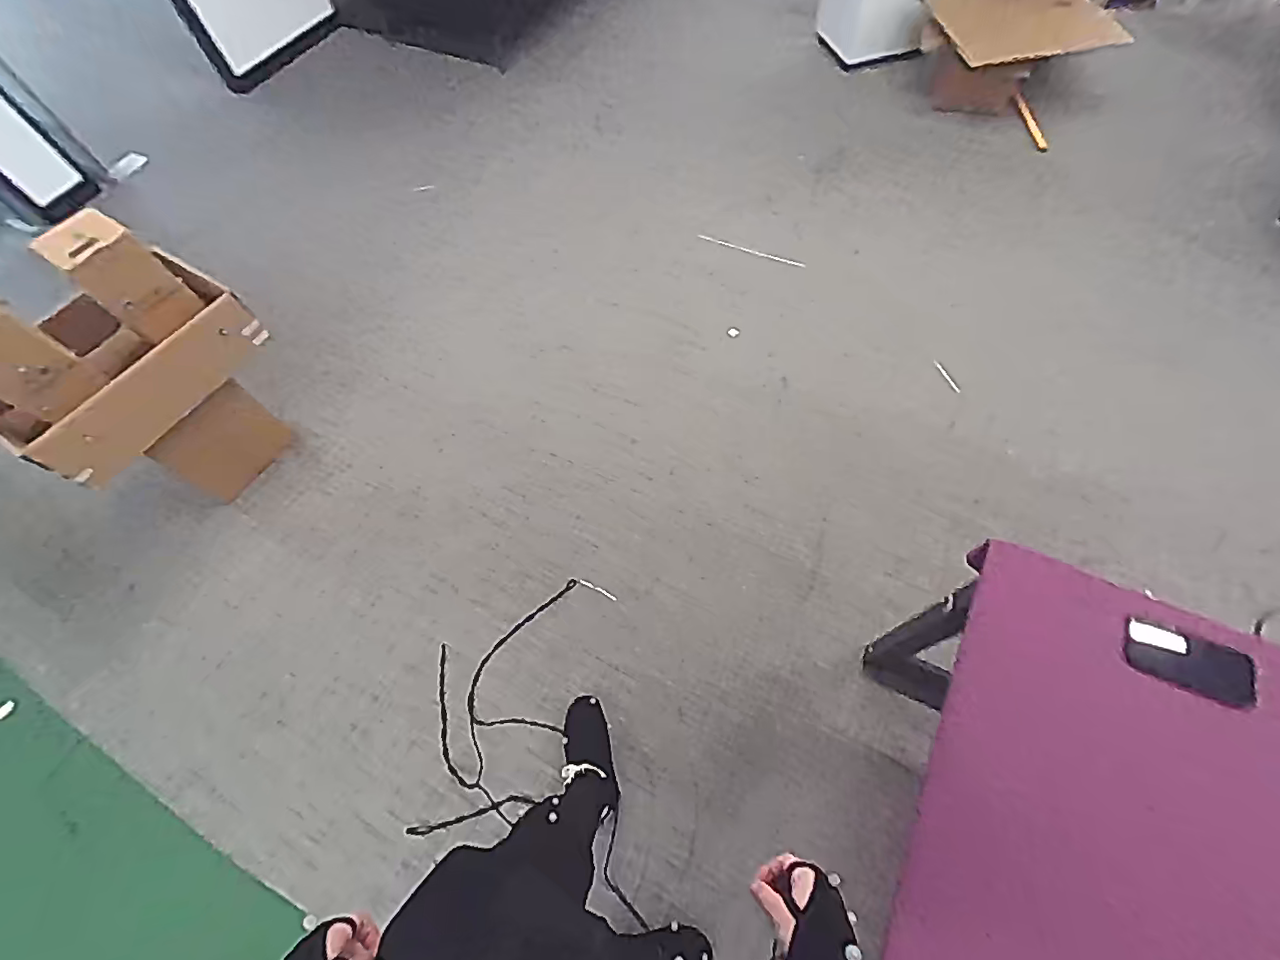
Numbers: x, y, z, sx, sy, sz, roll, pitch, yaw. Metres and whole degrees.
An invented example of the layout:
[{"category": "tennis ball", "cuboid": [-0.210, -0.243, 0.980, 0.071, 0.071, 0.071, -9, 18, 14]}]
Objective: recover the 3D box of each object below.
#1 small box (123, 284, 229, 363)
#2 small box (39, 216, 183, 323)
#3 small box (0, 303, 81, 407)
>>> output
[{"category": "small box", "cuboid": [-1.342, -0.463, 1.540, 0.179, 0.176, 0.168, 29, 67, 16]}, {"category": "small box", "cuboid": [-1.346, -0.534, 1.392, 0.179, 0.176, 0.168, 30, 67, 18]}, {"category": "small box", "cuboid": [-1.512, -0.303, 1.280, 0.179, 0.176, 0.168, 31, 69, 18]}]
